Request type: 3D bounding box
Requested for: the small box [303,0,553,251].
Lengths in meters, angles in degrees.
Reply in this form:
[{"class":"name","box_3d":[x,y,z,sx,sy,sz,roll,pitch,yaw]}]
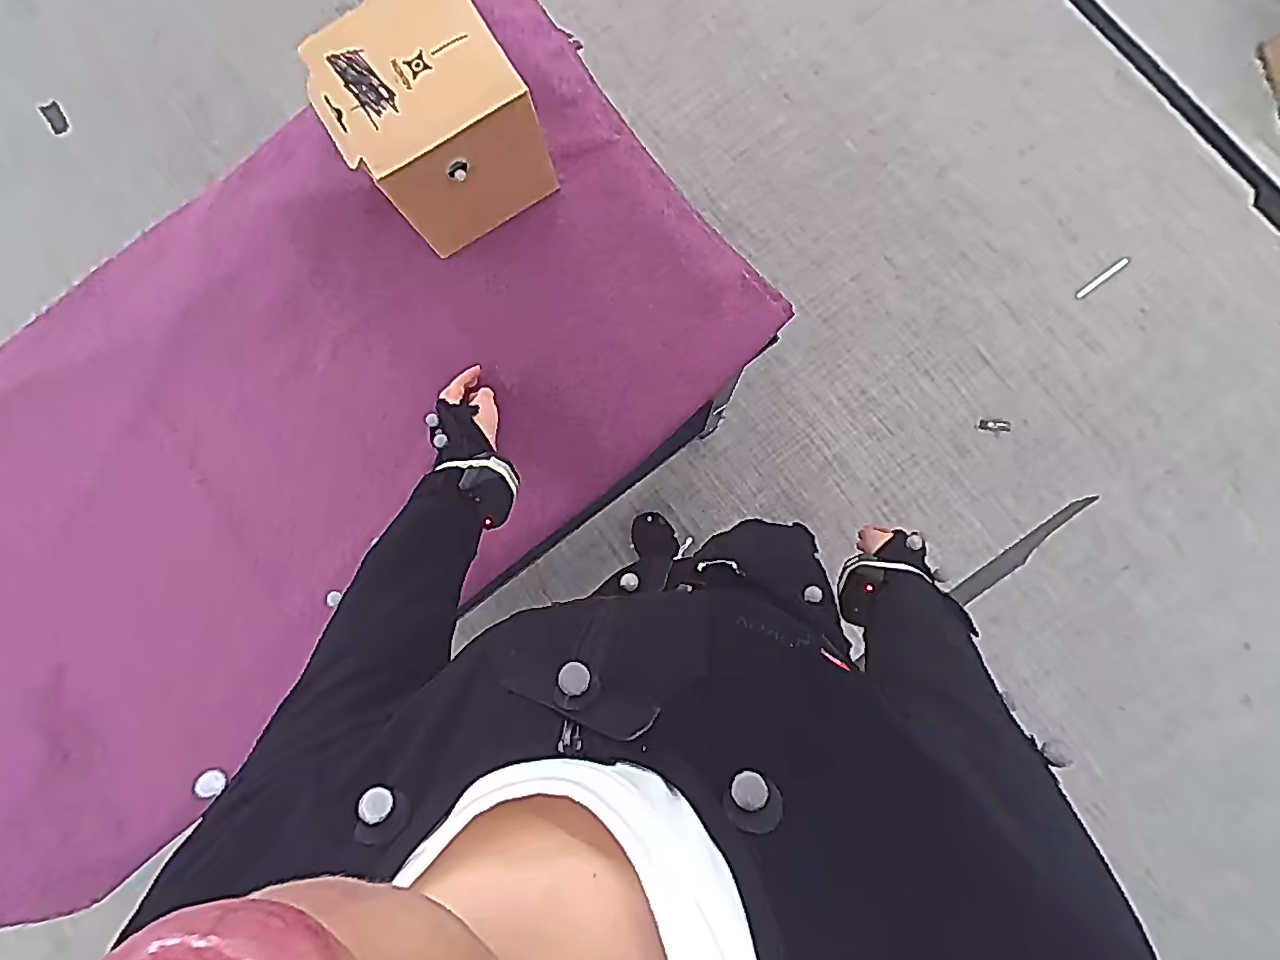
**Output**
[{"class":"small box","box_3d":[-0.221,-0.398,0.613,0.179,0.176,0.168,-31,87,0]}]
